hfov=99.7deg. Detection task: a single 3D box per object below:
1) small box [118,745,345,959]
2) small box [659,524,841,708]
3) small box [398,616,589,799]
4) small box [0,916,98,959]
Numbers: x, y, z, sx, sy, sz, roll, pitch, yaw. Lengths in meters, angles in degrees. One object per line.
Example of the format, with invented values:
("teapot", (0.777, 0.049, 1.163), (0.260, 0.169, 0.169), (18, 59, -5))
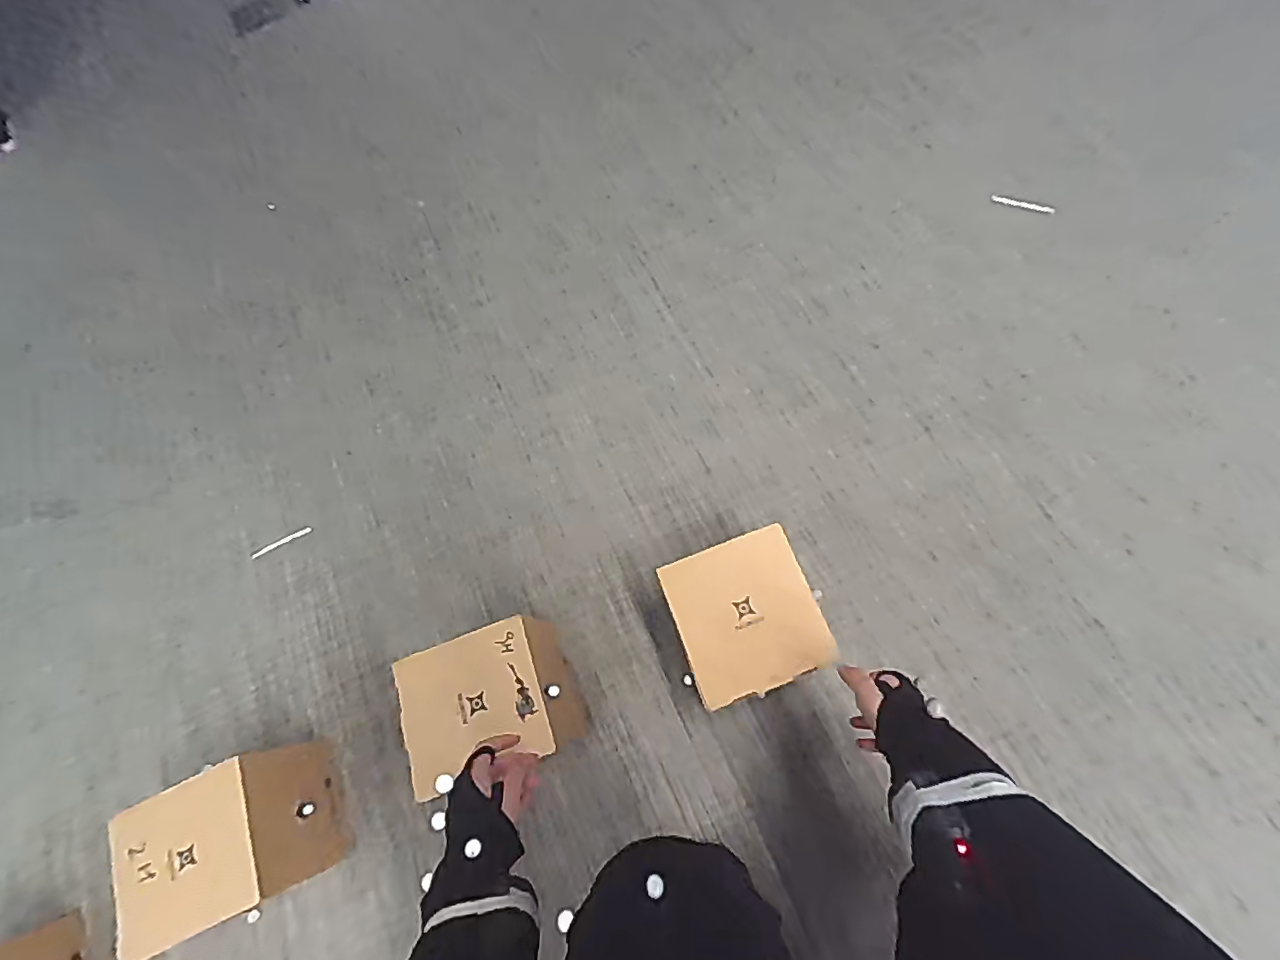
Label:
("small box", (-0.519, 0.471, 0.711), (0.179, 0.176, 0.168), (-26, 68, -1))
("small box", (0.136, 0.184, 0.717), (0.168, 0.176, 0.179), (-22, 69, 1))
("small box", (-0.188, 0.297, 0.724), (0.179, 0.176, 0.168), (-21, 69, 1))
("small box", (-0.836, 0.708, 0.674), (0.179, 0.176, 0.168), (-37, 70, -6))
